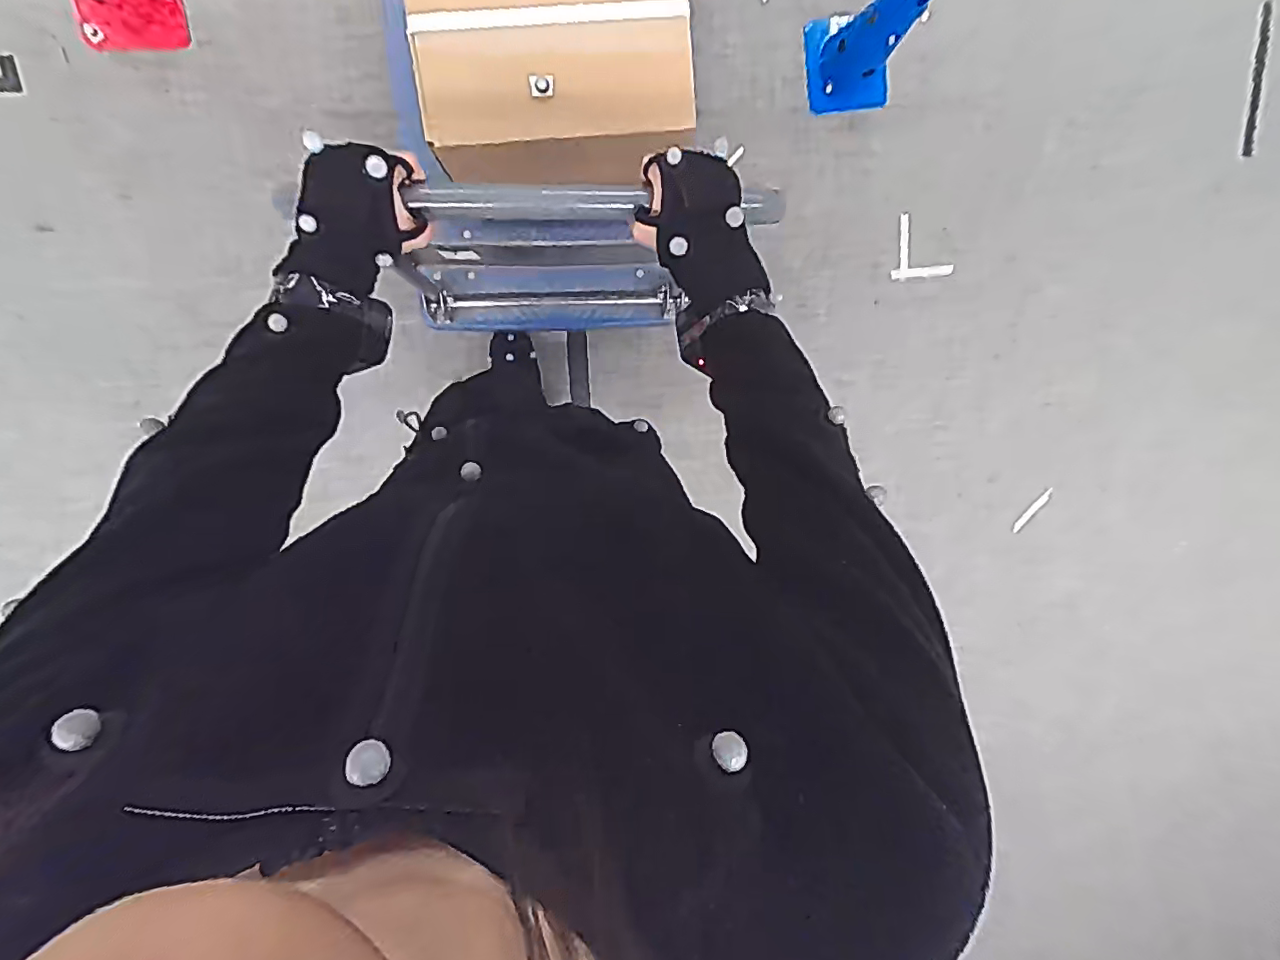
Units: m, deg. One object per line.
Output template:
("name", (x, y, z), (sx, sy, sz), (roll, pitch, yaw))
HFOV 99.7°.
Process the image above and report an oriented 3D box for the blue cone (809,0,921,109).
("blue cone", (0.521, -0.964, 1.132), (0.193, 0.380, 0.192), (-9, 102, -6))
